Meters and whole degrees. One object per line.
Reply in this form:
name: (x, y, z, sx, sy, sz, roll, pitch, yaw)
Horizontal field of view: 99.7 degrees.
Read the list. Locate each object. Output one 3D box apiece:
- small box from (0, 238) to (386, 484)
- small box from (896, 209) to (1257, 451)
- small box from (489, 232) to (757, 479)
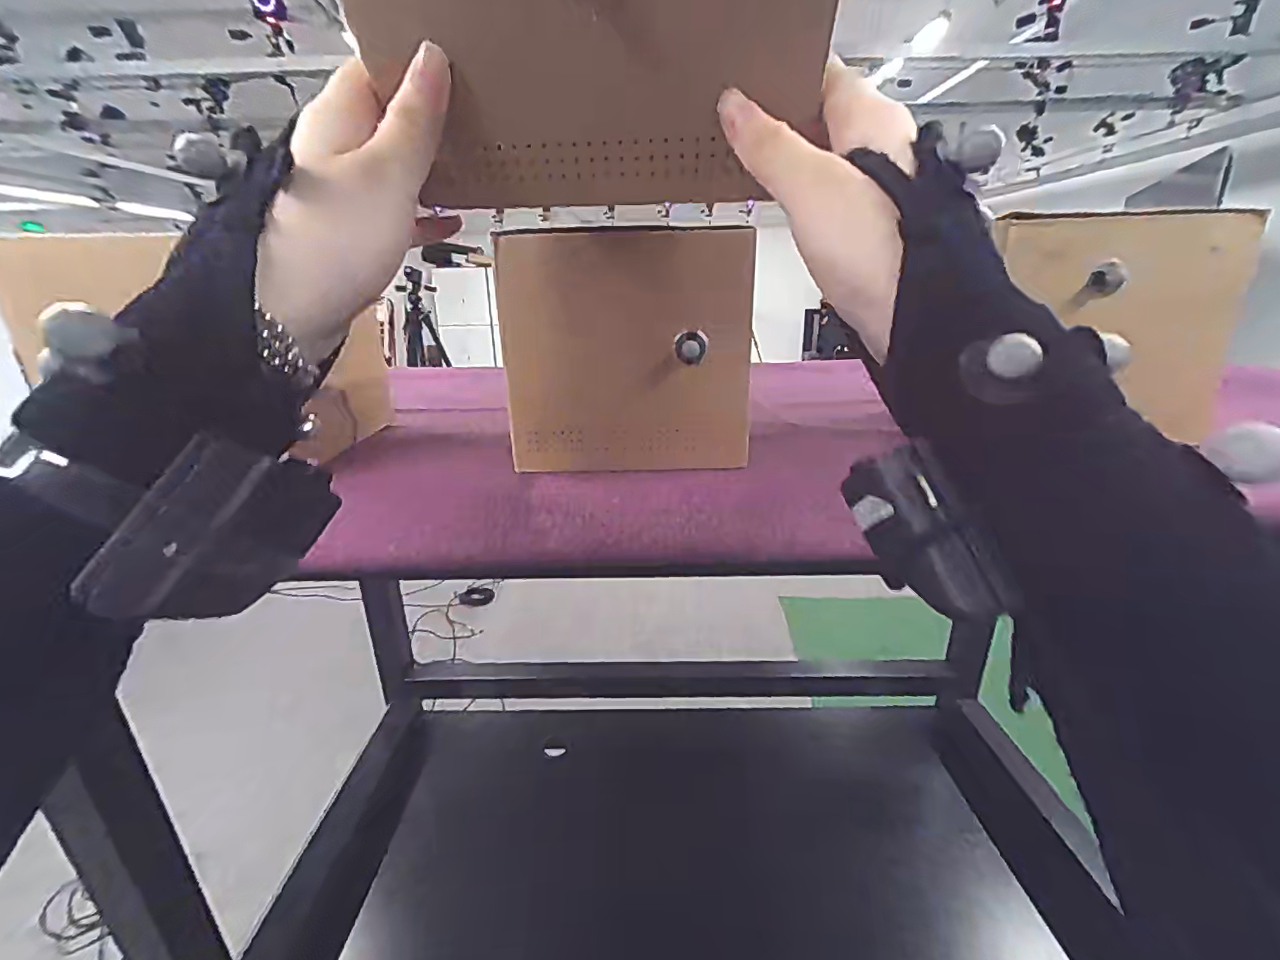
small box: (-0.331, -0.101, 0.443, 0.168, 0.176, 0.179, 0, 21, -1)
small box: (0.339, -0.123, 0.466, 0.179, 0.176, 0.168, -1, 18, 2)
small box: (-0.009, -0.106, 0.449, 0.179, 0.176, 0.168, -2, 20, 0)
